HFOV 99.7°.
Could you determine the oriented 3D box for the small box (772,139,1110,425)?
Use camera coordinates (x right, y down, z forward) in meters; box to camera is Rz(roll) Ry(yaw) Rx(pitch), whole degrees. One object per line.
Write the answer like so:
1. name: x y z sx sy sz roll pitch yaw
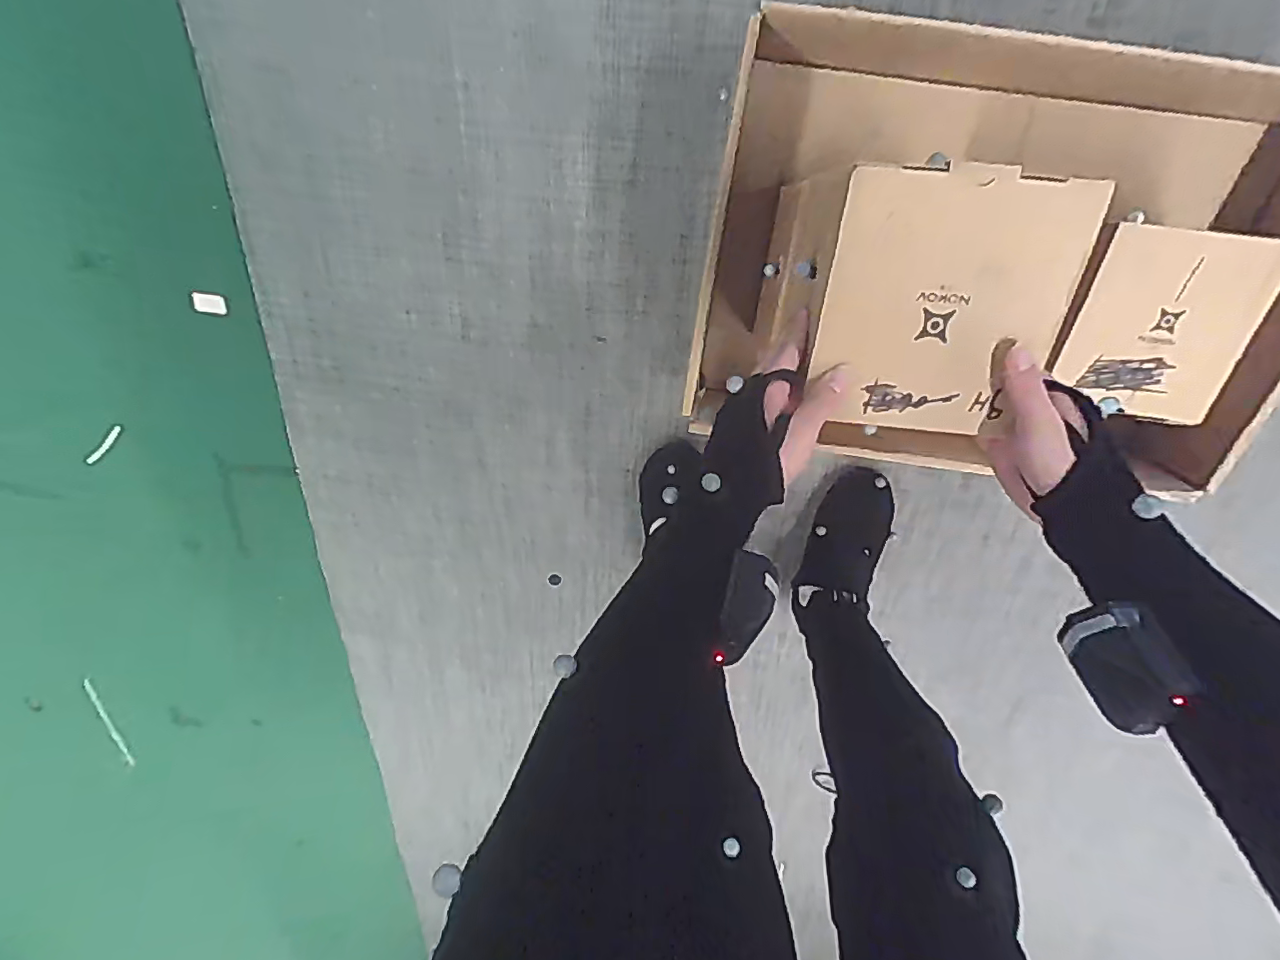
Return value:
1. small box: 0.212 -0.162 0.446 0.168 0.176 0.179 6 116 3
